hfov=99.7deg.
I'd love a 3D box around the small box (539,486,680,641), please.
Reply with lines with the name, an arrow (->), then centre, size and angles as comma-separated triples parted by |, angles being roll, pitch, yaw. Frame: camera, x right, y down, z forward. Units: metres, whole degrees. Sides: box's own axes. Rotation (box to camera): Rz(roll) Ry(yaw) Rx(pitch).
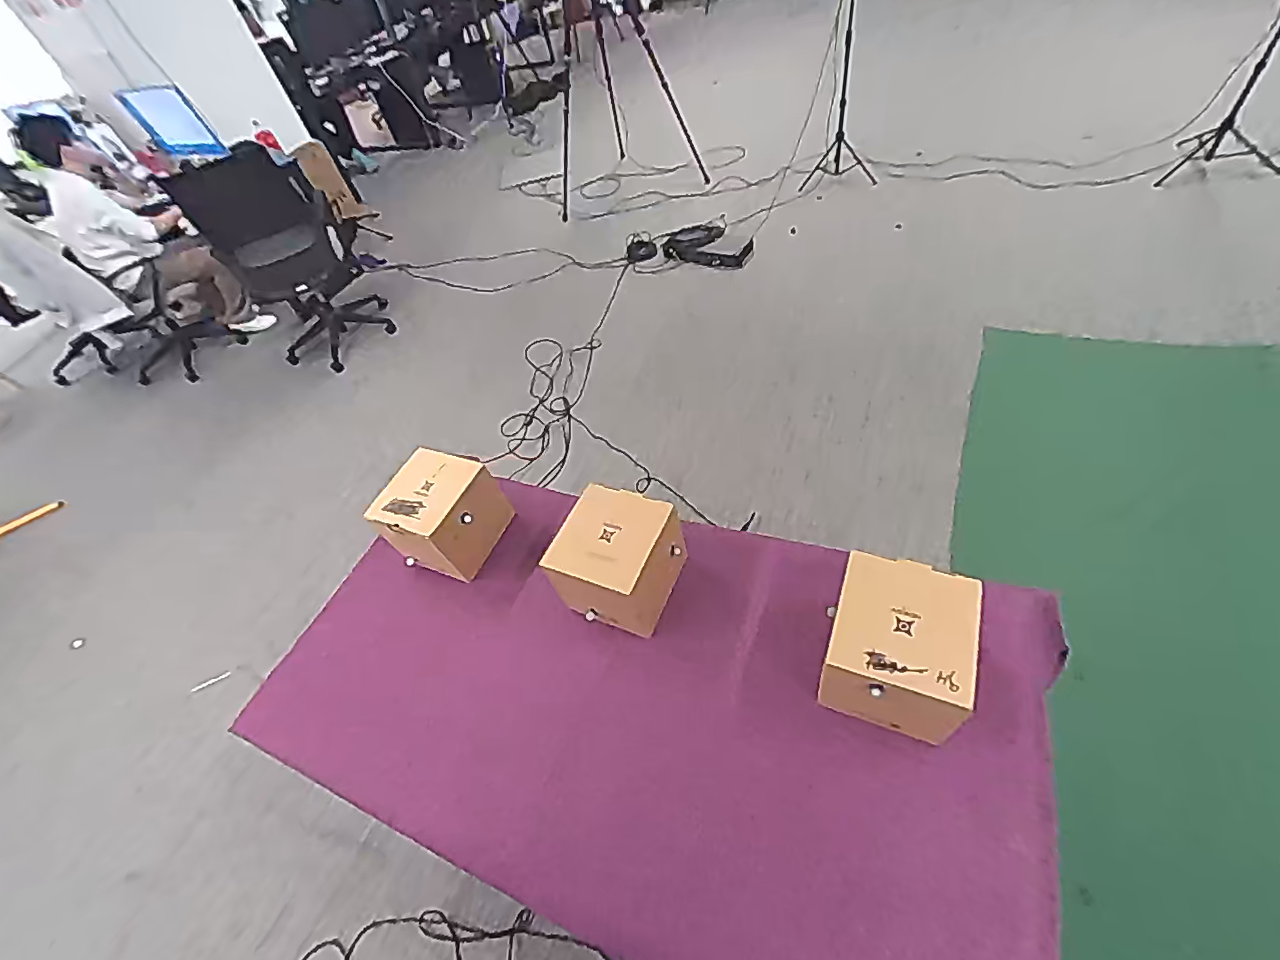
small box -> -0.040, 0.142, 0.919 | 0.168, 0.176, 0.179 | 15, 57, 23

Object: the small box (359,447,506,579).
small box -> -0.387, 0.067, 1.047 | 0.168, 0.176, 0.179 | 14, 57, 21

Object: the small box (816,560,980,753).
small box -> 0.350, 0.245, 0.753 | 0.168, 0.176, 0.179 | 14, 56, 22
